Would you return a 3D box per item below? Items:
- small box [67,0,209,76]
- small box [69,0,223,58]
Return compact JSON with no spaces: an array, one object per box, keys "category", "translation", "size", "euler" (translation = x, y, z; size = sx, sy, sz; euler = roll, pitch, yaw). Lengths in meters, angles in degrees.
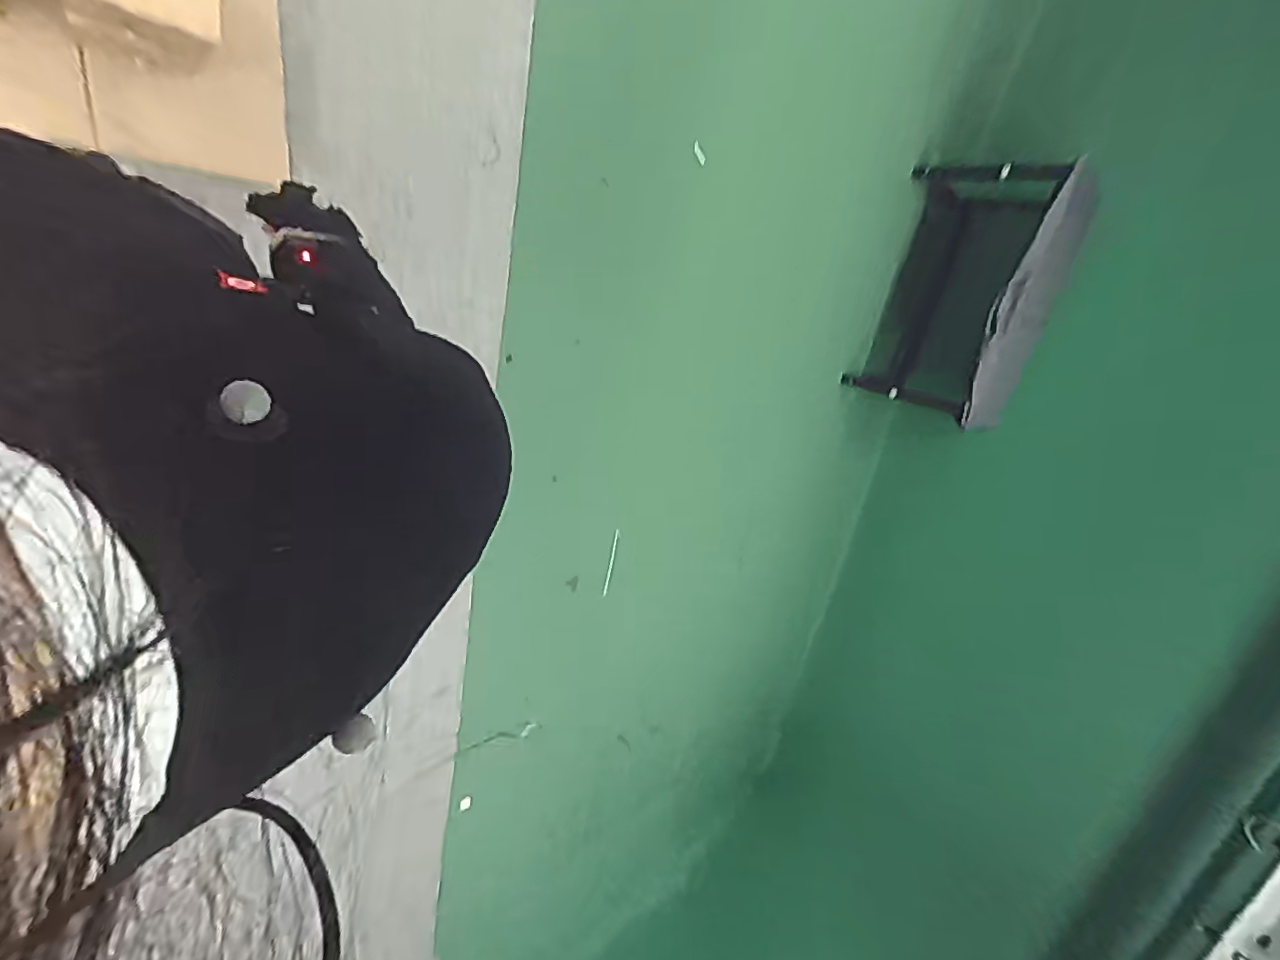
[{"category":"small box","translation":[-0.819,-0.794,0.875],"size":[0.168,0.176,0.179],"euler":[-9,118,-40]},{"category":"small box","translation":[-0.710,-0.743,0.767],"size":[0.168,0.176,0.179],"euler":[-6,116,-43]}]
